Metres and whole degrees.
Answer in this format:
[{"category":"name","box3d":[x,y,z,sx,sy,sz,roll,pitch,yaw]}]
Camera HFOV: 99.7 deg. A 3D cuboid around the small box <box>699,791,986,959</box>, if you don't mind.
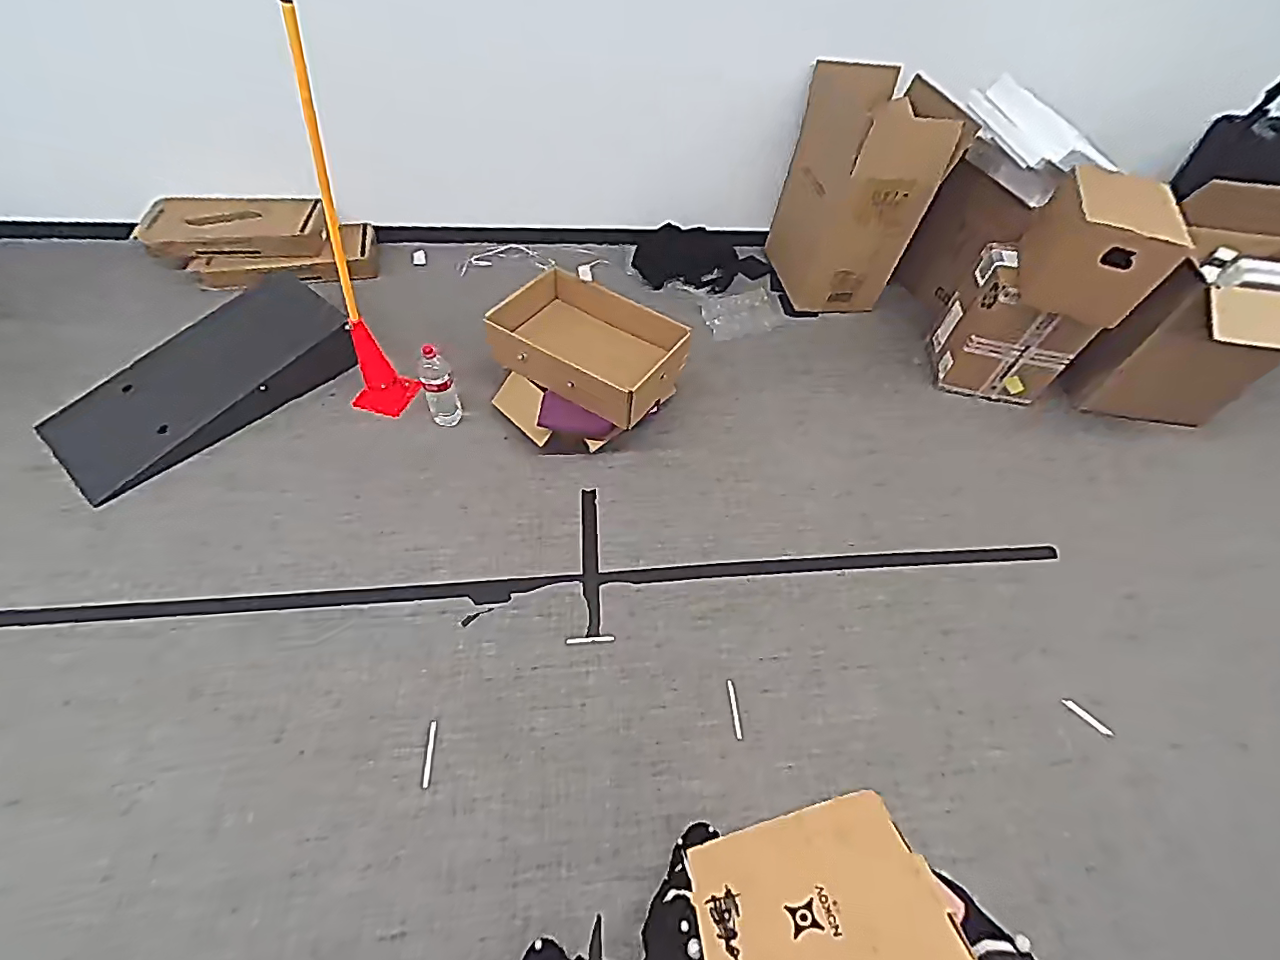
[{"category":"small box","box3d":[0.162,0.397,0.427,0.179,0.176,0.168,-18,15,1]}]
